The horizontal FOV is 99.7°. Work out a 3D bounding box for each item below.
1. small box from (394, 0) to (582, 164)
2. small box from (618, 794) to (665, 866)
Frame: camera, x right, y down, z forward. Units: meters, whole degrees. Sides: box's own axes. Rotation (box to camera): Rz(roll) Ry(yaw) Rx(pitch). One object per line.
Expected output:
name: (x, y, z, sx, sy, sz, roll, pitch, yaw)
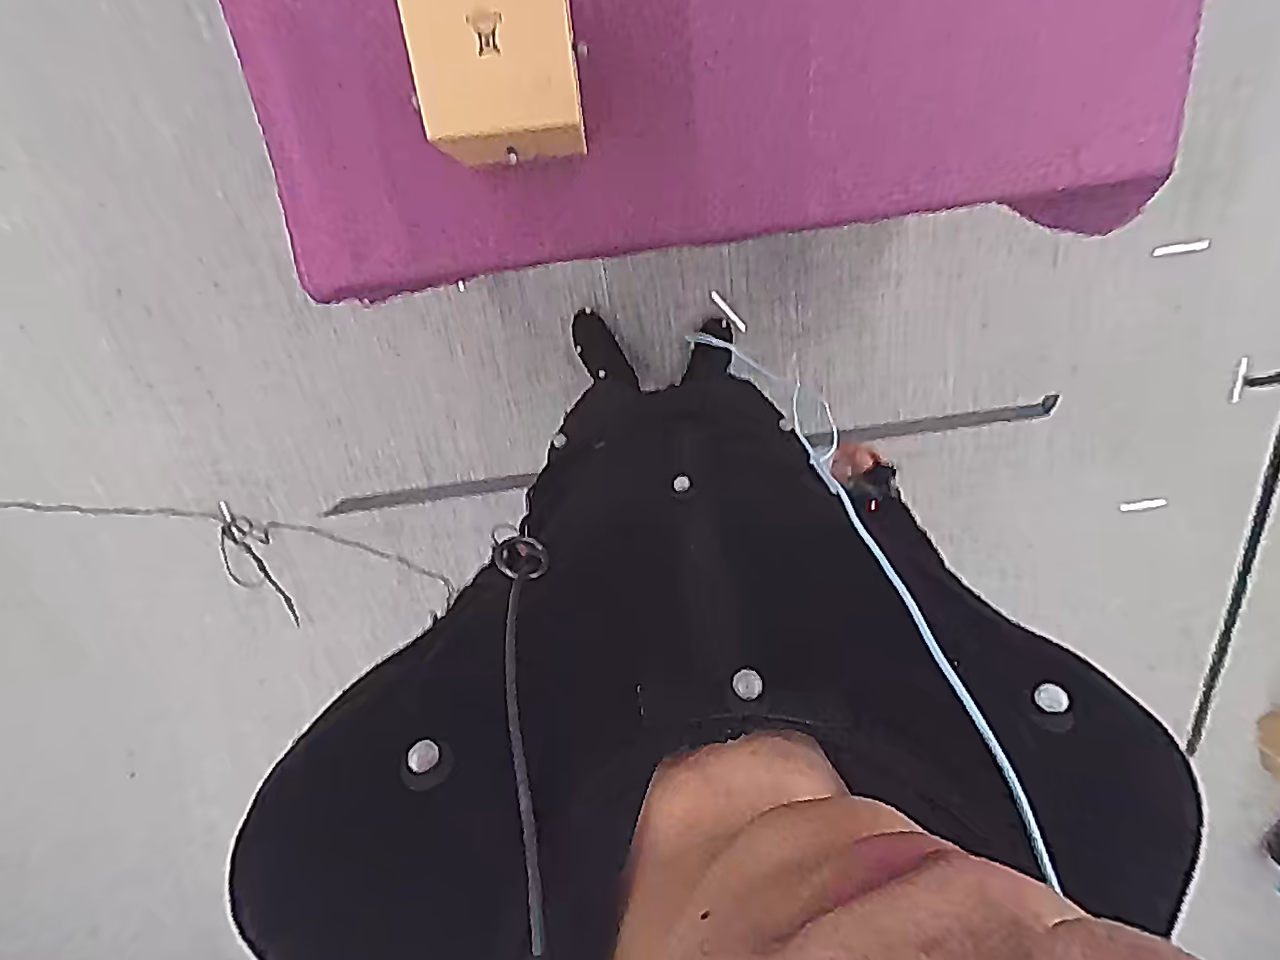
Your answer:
small box: (-0.160, -0.473, 0.616, 0.168, 0.176, 0.179, -6, 111, -1)
small box: (0.004, 1.356, 2.108, 0.168, 0.176, 0.179, -5, 112, 0)
